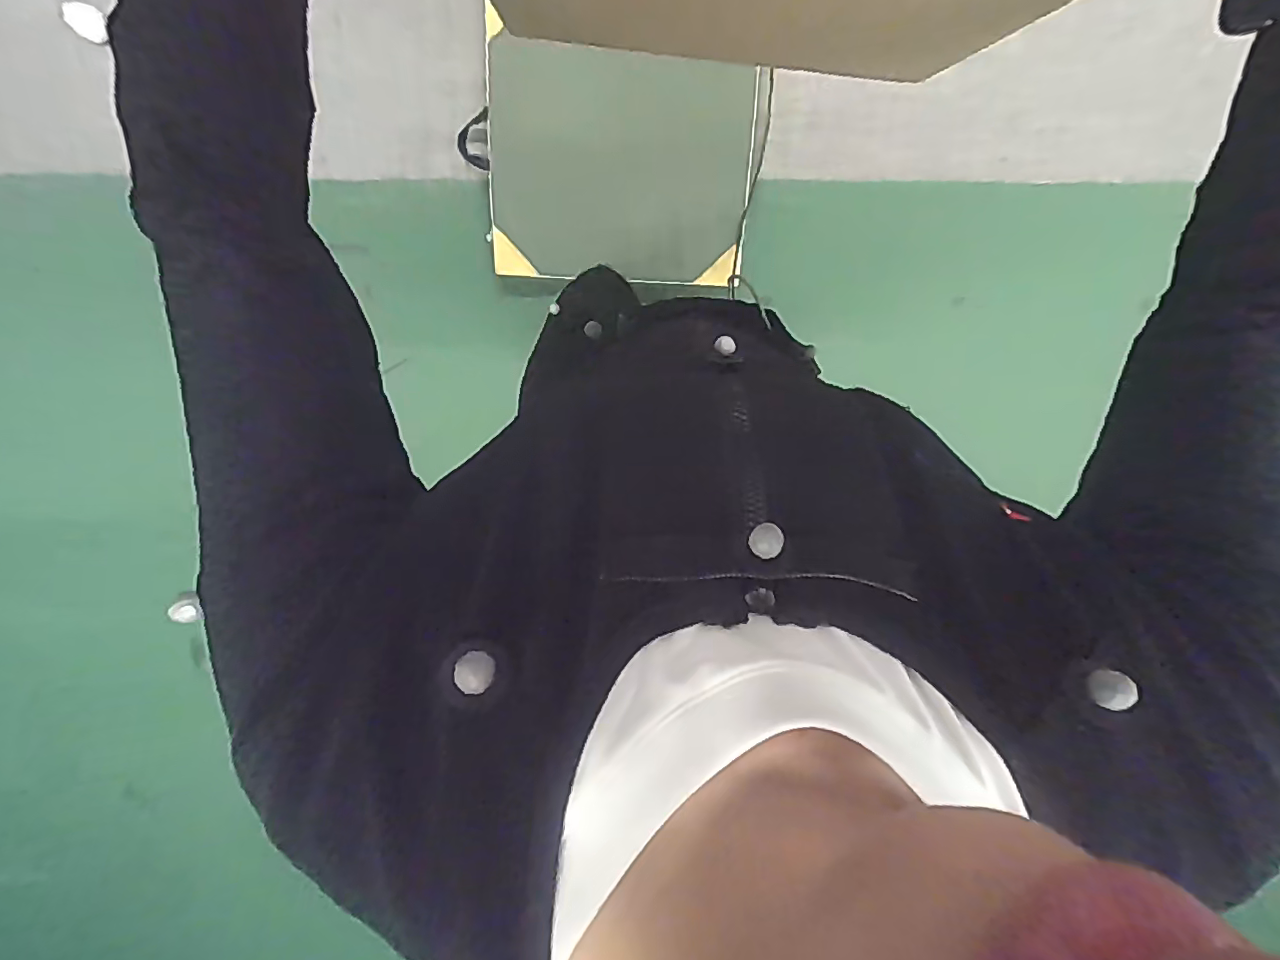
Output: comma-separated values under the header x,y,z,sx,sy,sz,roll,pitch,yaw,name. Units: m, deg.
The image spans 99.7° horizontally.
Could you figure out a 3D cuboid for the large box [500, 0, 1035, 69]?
x,y,z,sx,sy,sz,roll,pitch,yaw,name
0.092,-0.488,0.322,0.408,0.320,0.320,3,115,-4,large box
